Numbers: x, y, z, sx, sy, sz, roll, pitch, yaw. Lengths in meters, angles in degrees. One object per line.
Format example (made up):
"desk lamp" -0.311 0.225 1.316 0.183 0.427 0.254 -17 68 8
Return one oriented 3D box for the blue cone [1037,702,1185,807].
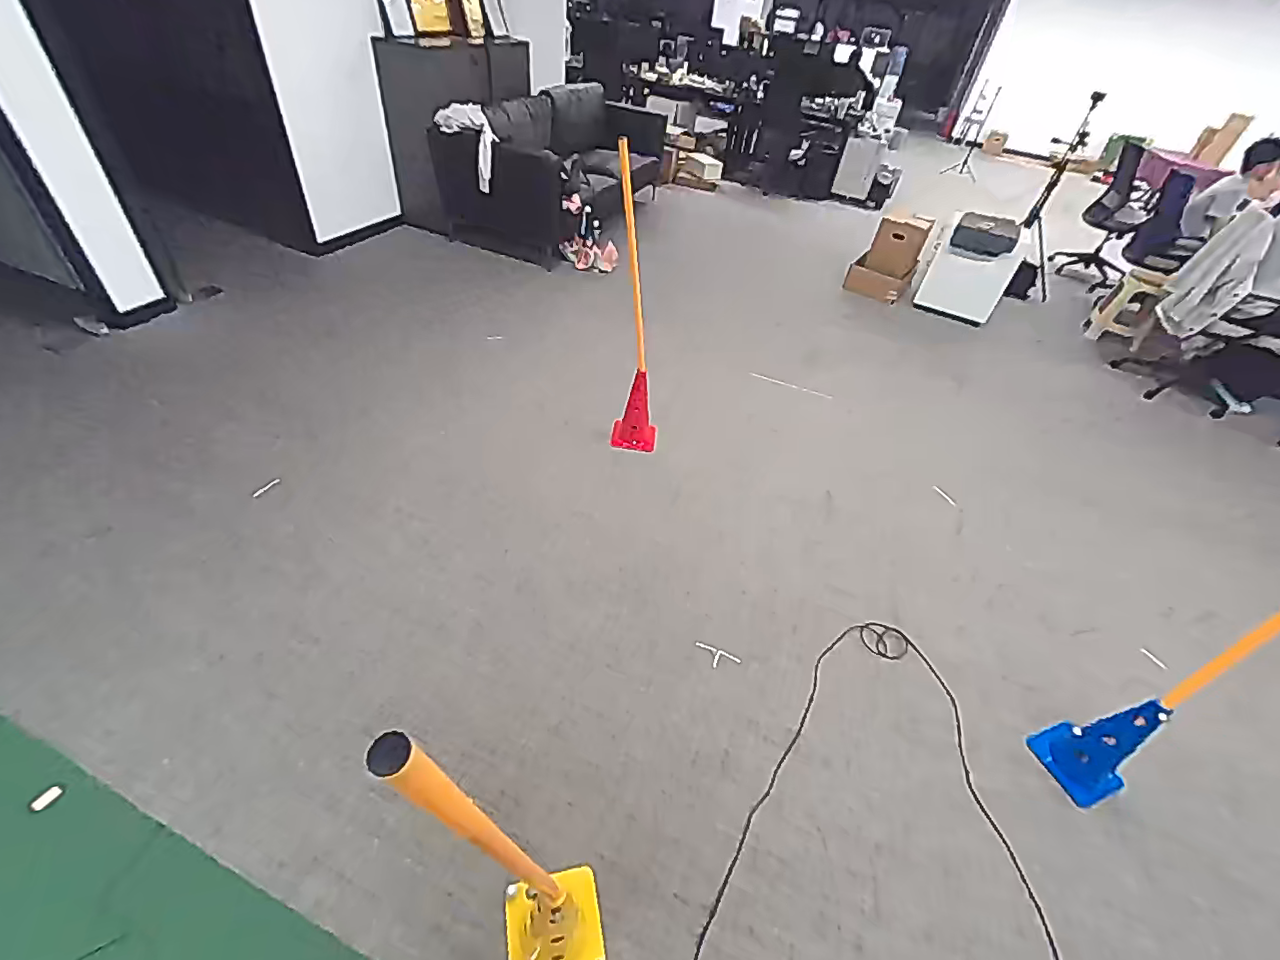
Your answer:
"blue cone" 1.299 0.699 1.464 0.193 0.380 0.192 -9 44 -22
